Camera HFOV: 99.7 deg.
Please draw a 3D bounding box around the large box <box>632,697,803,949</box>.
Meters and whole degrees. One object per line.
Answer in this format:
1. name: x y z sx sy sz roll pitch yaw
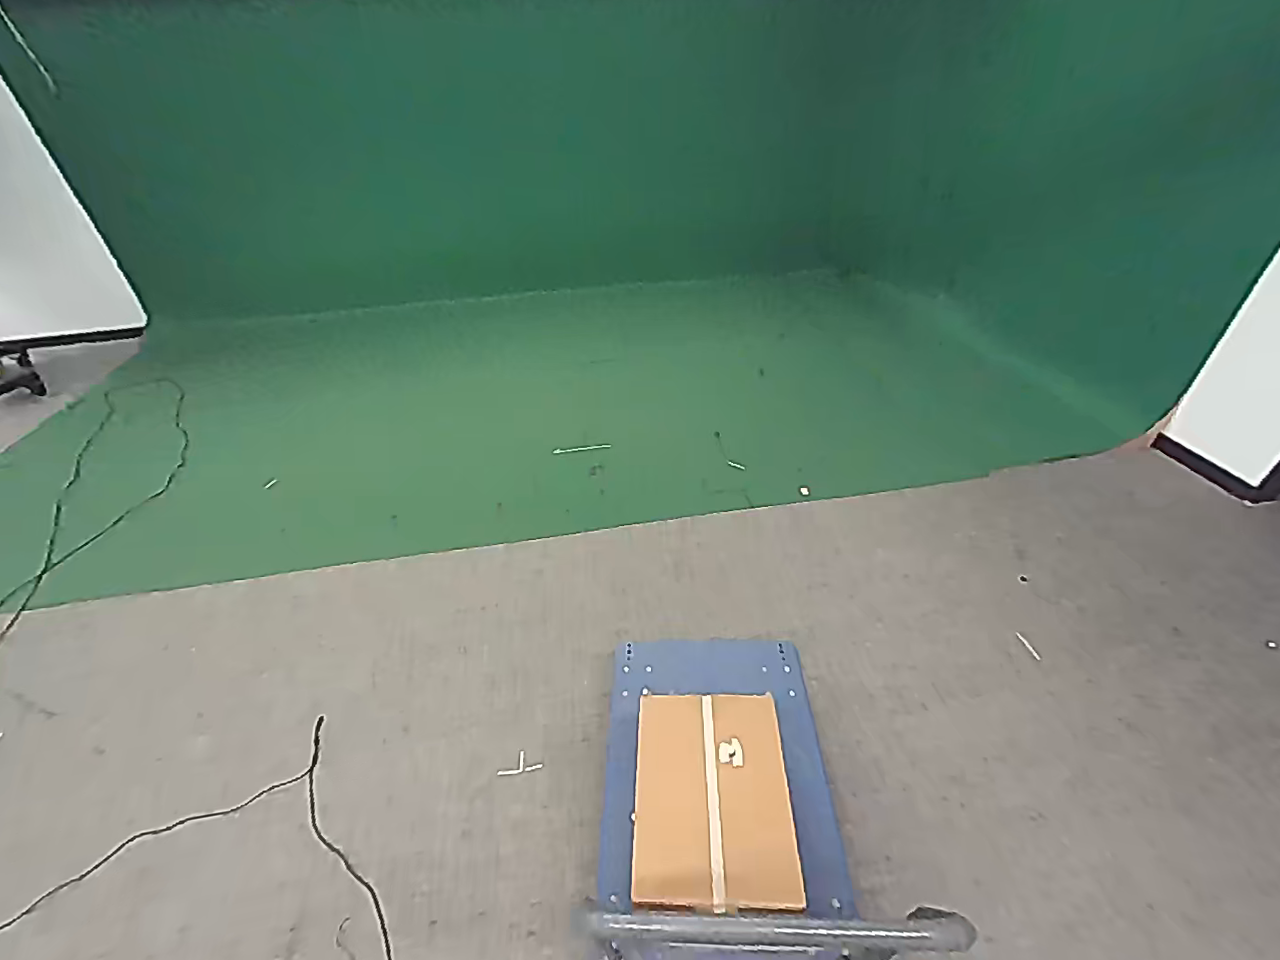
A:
1. large box: 0.154 0.757 1.213 0.320 0.320 0.408 -1 36 3
